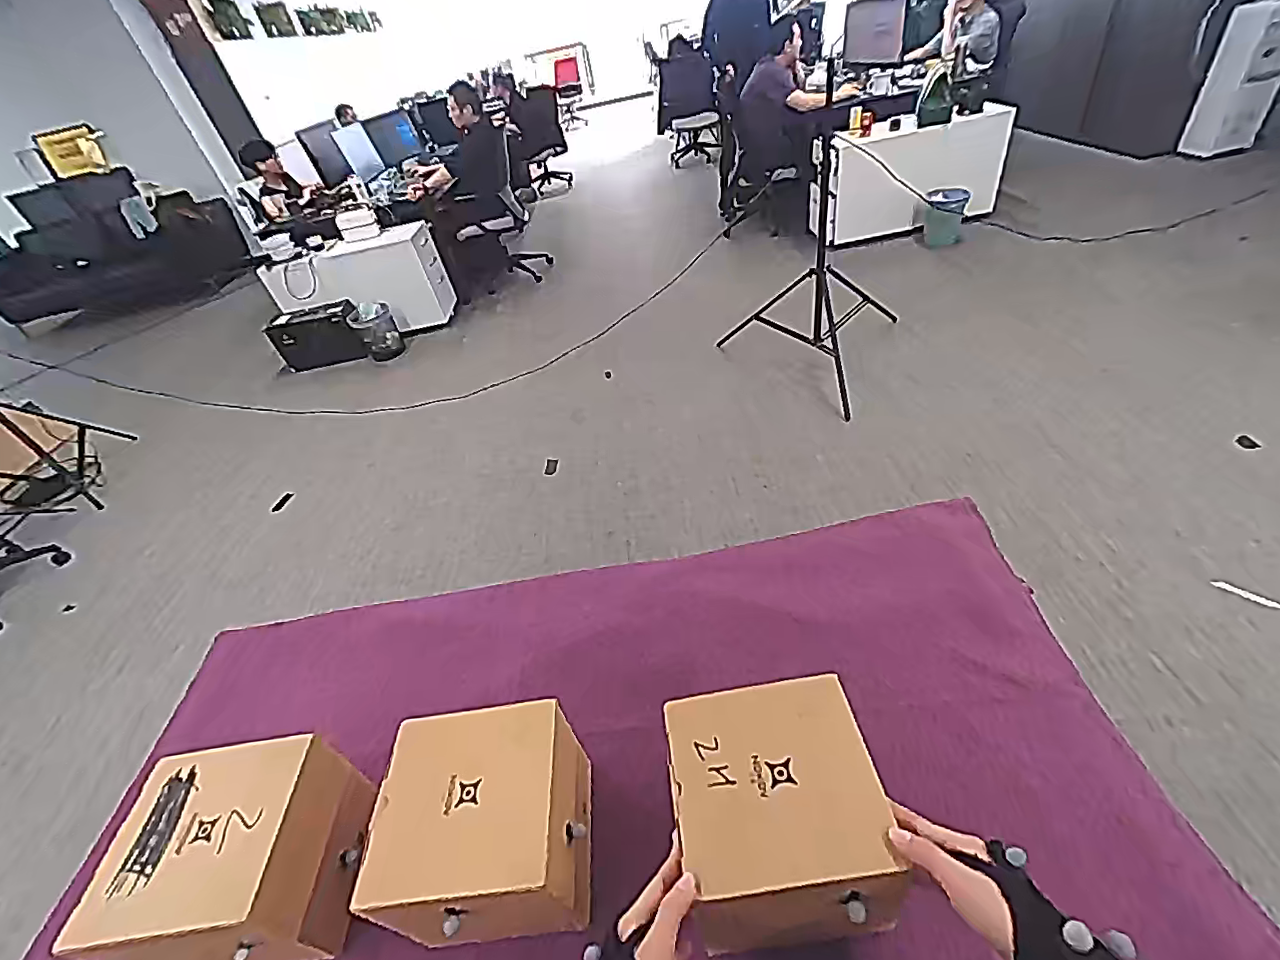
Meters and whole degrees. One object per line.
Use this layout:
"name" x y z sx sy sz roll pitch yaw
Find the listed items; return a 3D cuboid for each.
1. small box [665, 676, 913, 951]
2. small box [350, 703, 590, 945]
"small box" 0.128 0.317 0.515 0.179 0.176 0.168 -11 37 3
"small box" -0.153 0.359 0.564 0.179 0.176 0.168 -11 40 4
